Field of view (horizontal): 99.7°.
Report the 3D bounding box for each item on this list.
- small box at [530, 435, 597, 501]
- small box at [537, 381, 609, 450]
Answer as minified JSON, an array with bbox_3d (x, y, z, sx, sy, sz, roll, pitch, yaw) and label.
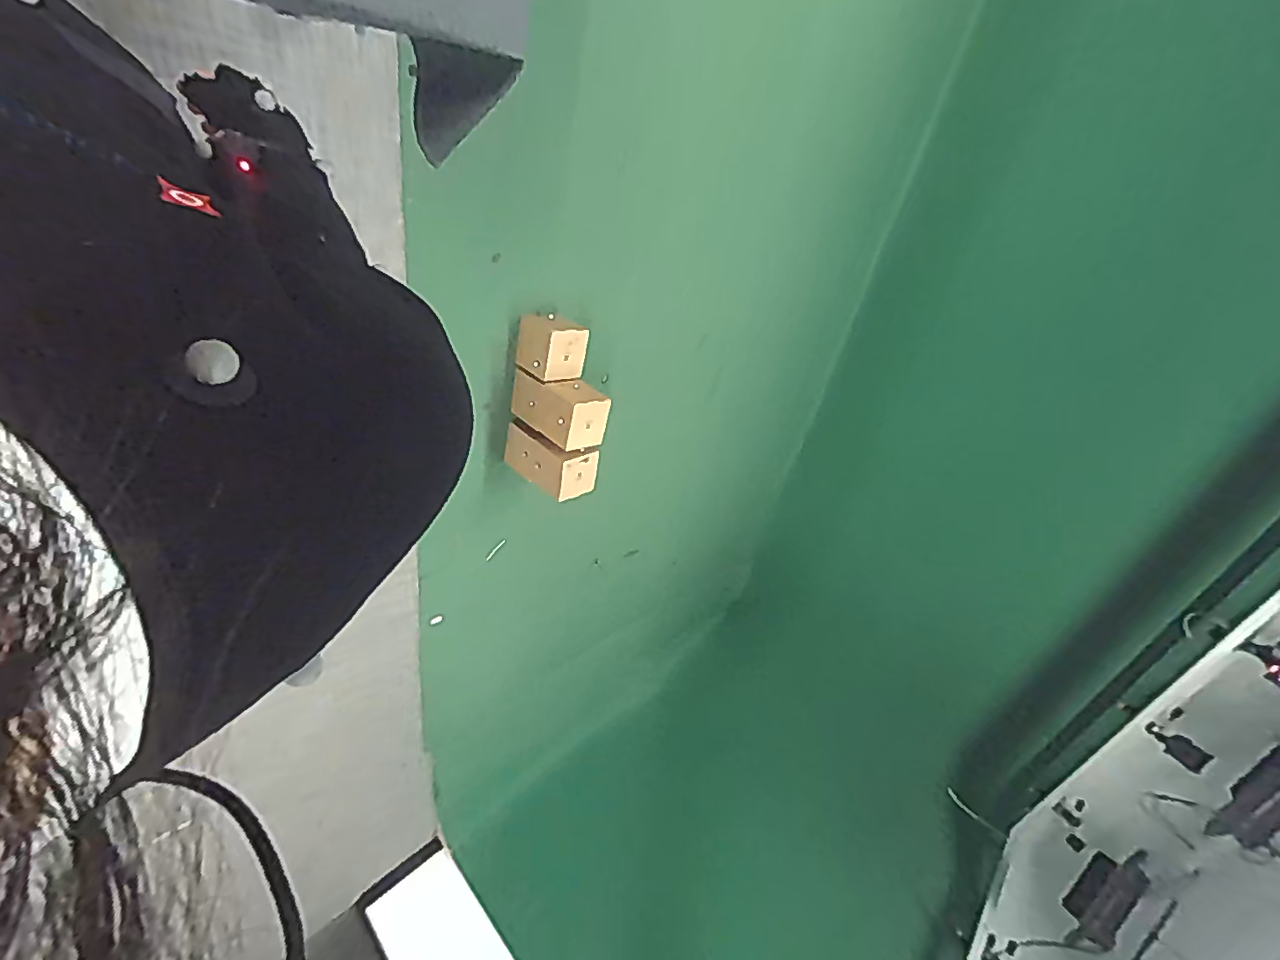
[{"bbox_3d":[-0.281,-0.056,1.963,0.168,0.176,0.179,-21,136,-43],"label":"small box"},{"bbox_3d":[-0.238,-0.227,1.866,0.168,0.176,0.179,-15,130,-45],"label":"small box"}]
